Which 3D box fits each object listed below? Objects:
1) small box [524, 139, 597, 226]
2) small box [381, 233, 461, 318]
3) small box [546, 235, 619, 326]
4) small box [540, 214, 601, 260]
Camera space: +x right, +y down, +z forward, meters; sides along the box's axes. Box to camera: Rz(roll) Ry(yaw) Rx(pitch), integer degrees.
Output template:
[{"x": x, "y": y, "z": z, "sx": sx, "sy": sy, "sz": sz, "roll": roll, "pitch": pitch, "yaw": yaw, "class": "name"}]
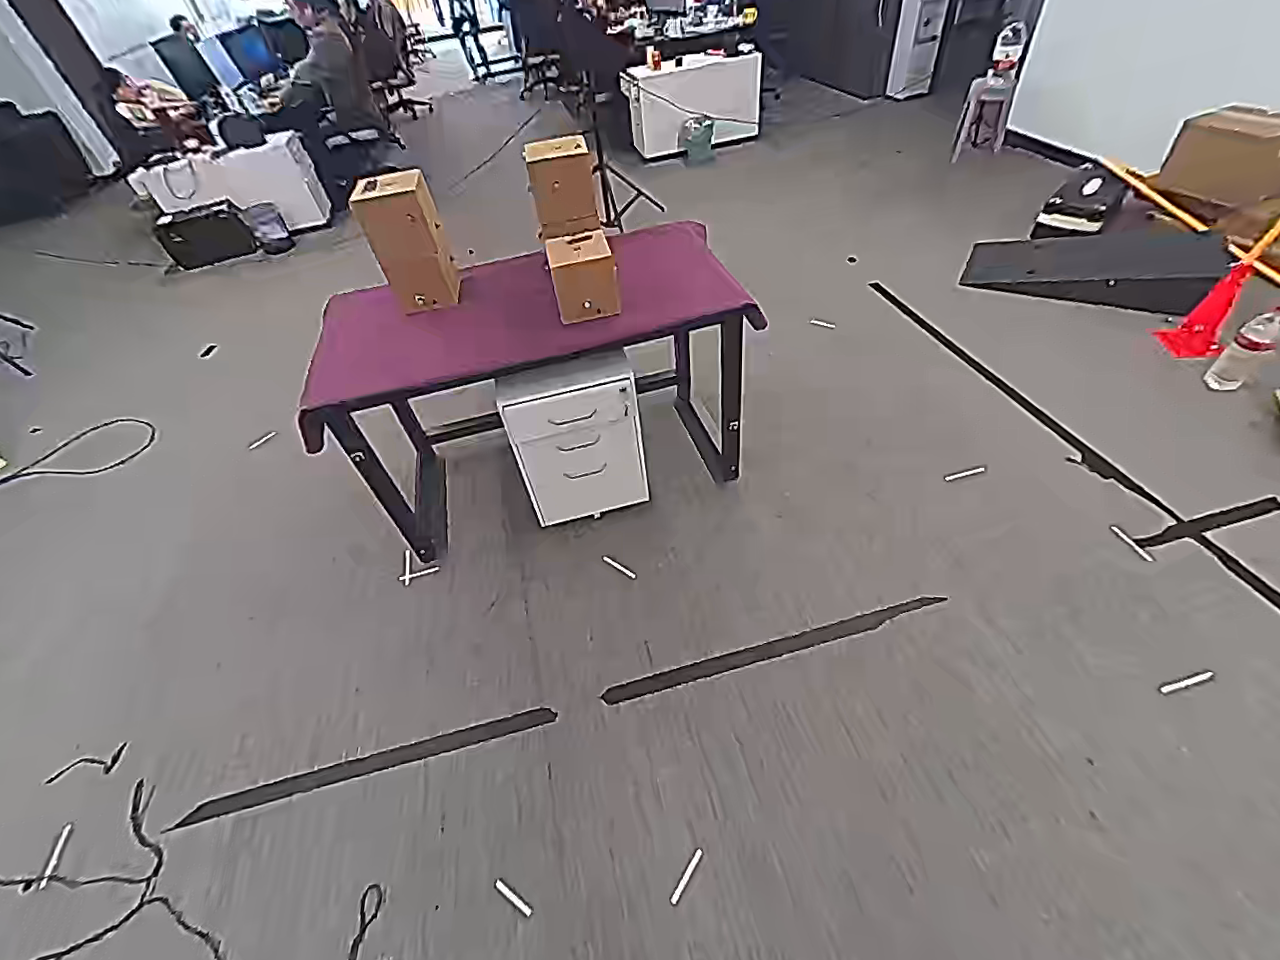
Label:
[{"x": -0.230, "y": -0.861, "z": 1.574, "sx": 0.179, "sy": 0.176, "sz": 0.168, "roll": -12, "pitch": 48, "yaw": -2, "class": "small box"}, {"x": -0.653, "y": -0.617, "z": 1.636, "sx": 0.168, "sy": 0.176, "sz": 0.179, "roll": -12, "pitch": 49, "yaw": -1, "class": "small box"}, {"x": -0.158, "y": -0.551, "z": 1.496, "sx": 0.168, "sy": 0.176, "sz": 0.179, "roll": -13, "pitch": 46, "yaw": -3, "class": "small box"}, {"x": -0.211, "y": -0.749, "z": 1.693, "sx": 0.179, "sy": 0.176, "sz": 0.168, "roll": -13, "pitch": 47, "yaw": -3, "class": "small box"}]
